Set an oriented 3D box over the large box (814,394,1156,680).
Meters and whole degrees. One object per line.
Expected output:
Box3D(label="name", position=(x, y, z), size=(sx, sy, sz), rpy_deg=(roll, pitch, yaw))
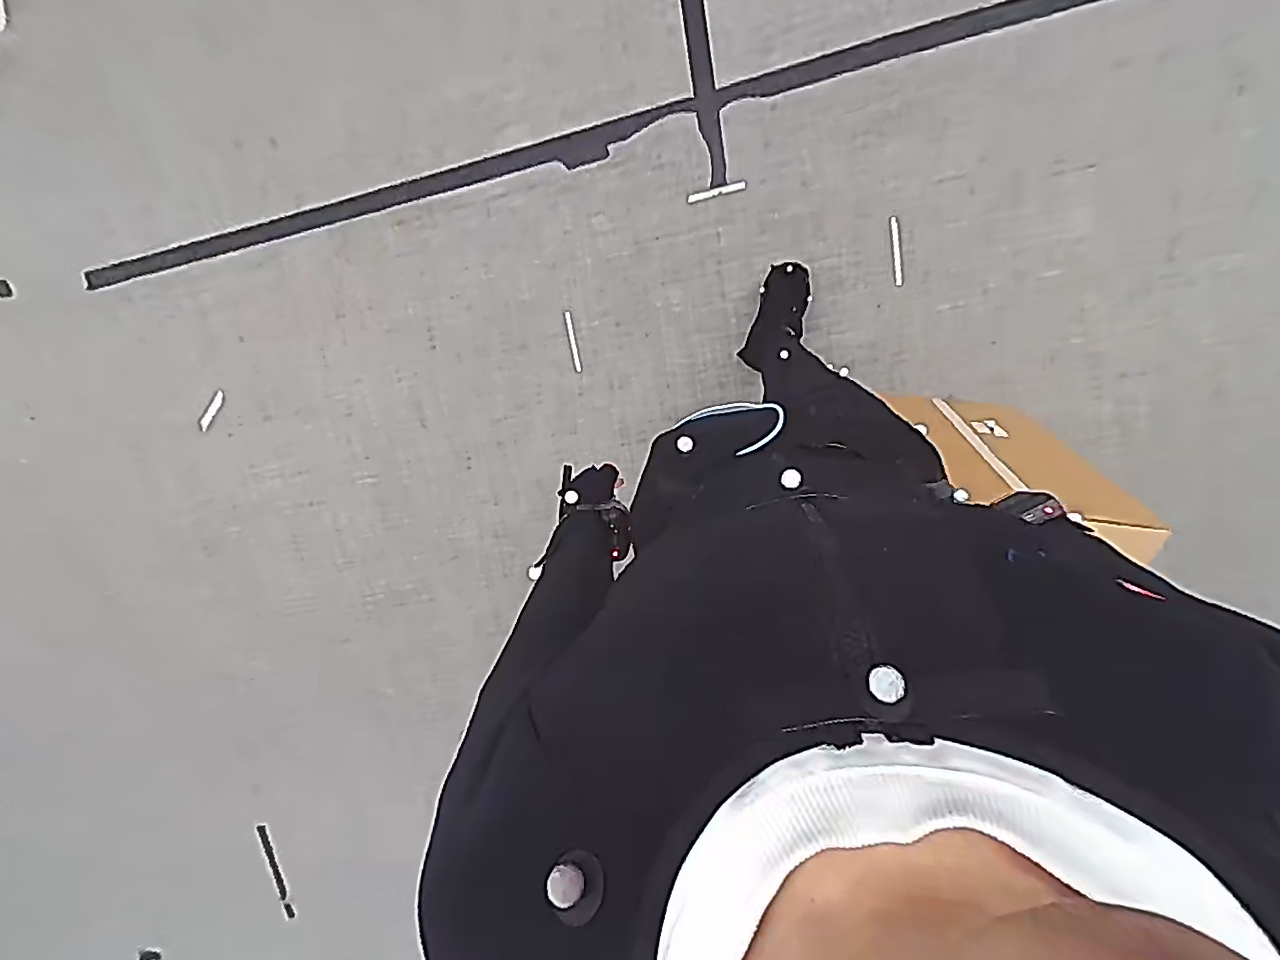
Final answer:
Box3D(label="large box", position=(0.516, 0.074, 0.933), size=(0.320, 0.408, 0.320), rpy_deg=(7, 119, 4))
